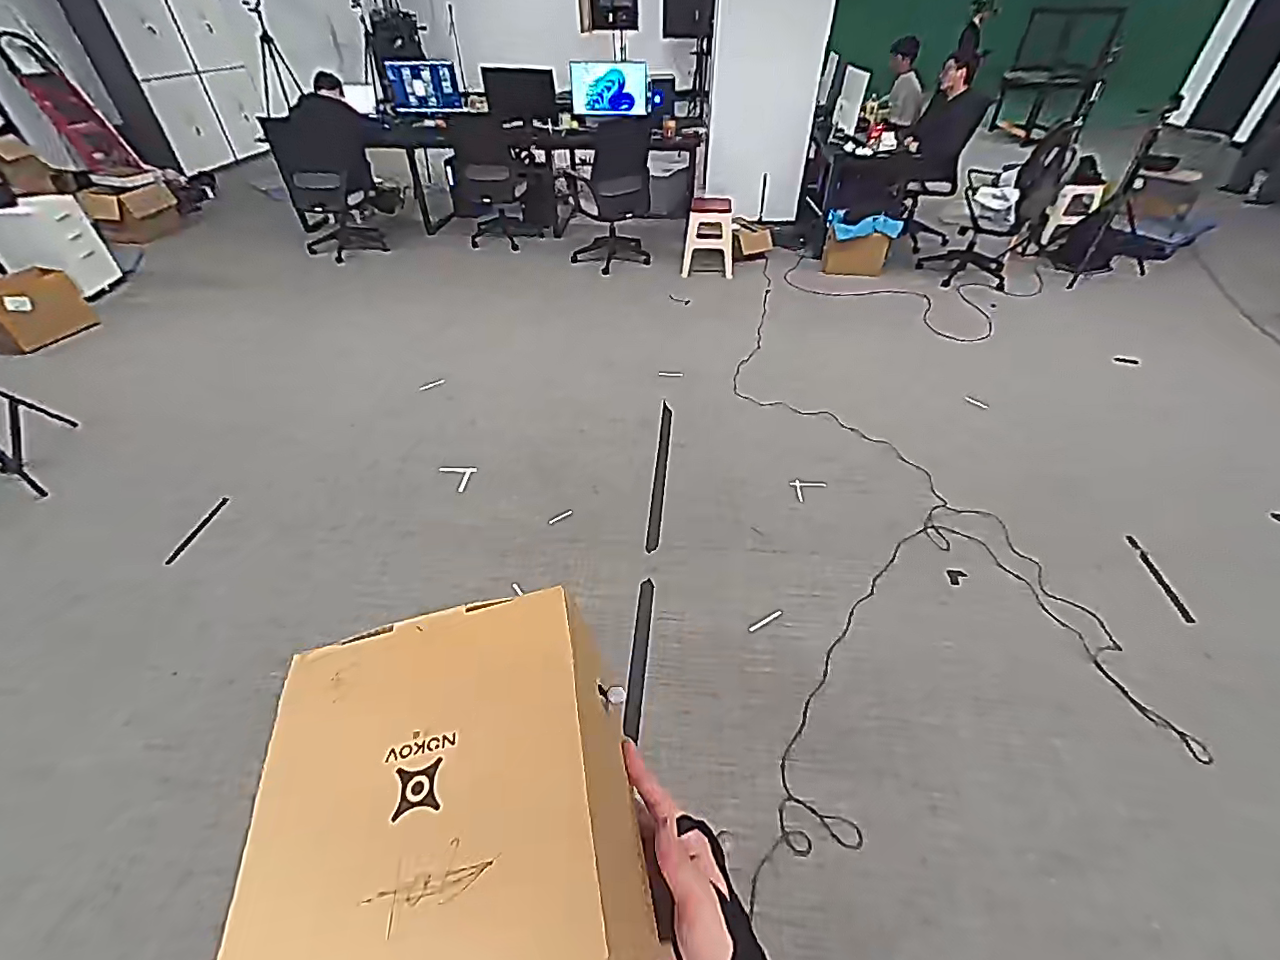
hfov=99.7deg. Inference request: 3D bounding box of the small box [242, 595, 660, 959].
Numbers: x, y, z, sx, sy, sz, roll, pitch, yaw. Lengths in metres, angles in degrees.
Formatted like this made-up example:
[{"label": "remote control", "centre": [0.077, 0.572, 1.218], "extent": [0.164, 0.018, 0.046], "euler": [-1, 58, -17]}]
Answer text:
[{"label": "small box", "centre": [-0.091, 0.201, 0.332], "extent": [0.168, 0.176, 0.179], "euler": [-15, 50, 0]}]
